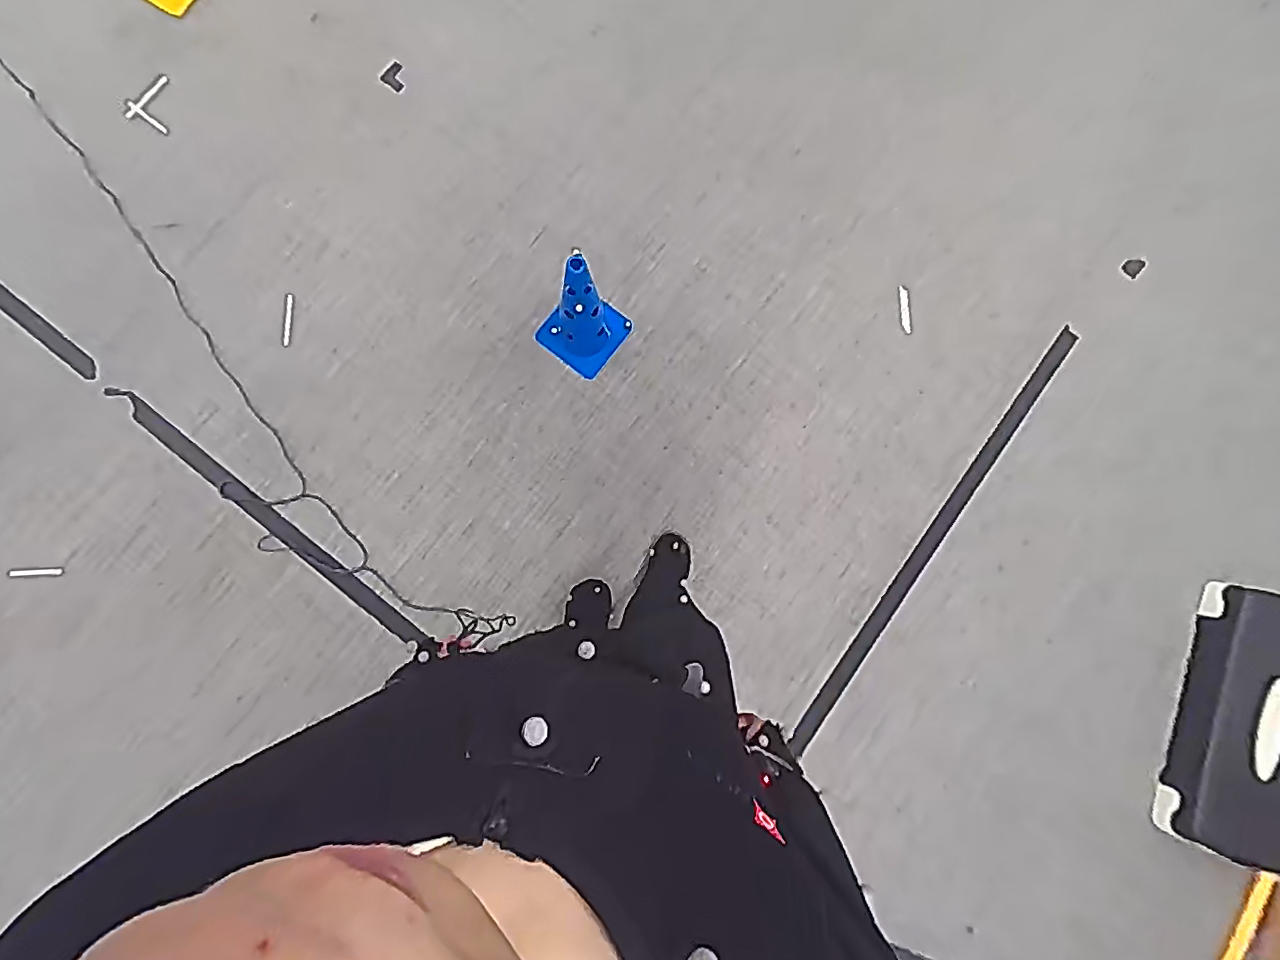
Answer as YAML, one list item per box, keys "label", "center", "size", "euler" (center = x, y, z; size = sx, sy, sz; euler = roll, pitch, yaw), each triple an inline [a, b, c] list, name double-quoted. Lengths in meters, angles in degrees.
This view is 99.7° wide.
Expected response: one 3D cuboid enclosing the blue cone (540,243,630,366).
- label: "blue cone"
  center: [-0.138, -0.435, 1.278]
  size: [0.193, 0.380, 0.192]
  euler: [38, 82, 2]
